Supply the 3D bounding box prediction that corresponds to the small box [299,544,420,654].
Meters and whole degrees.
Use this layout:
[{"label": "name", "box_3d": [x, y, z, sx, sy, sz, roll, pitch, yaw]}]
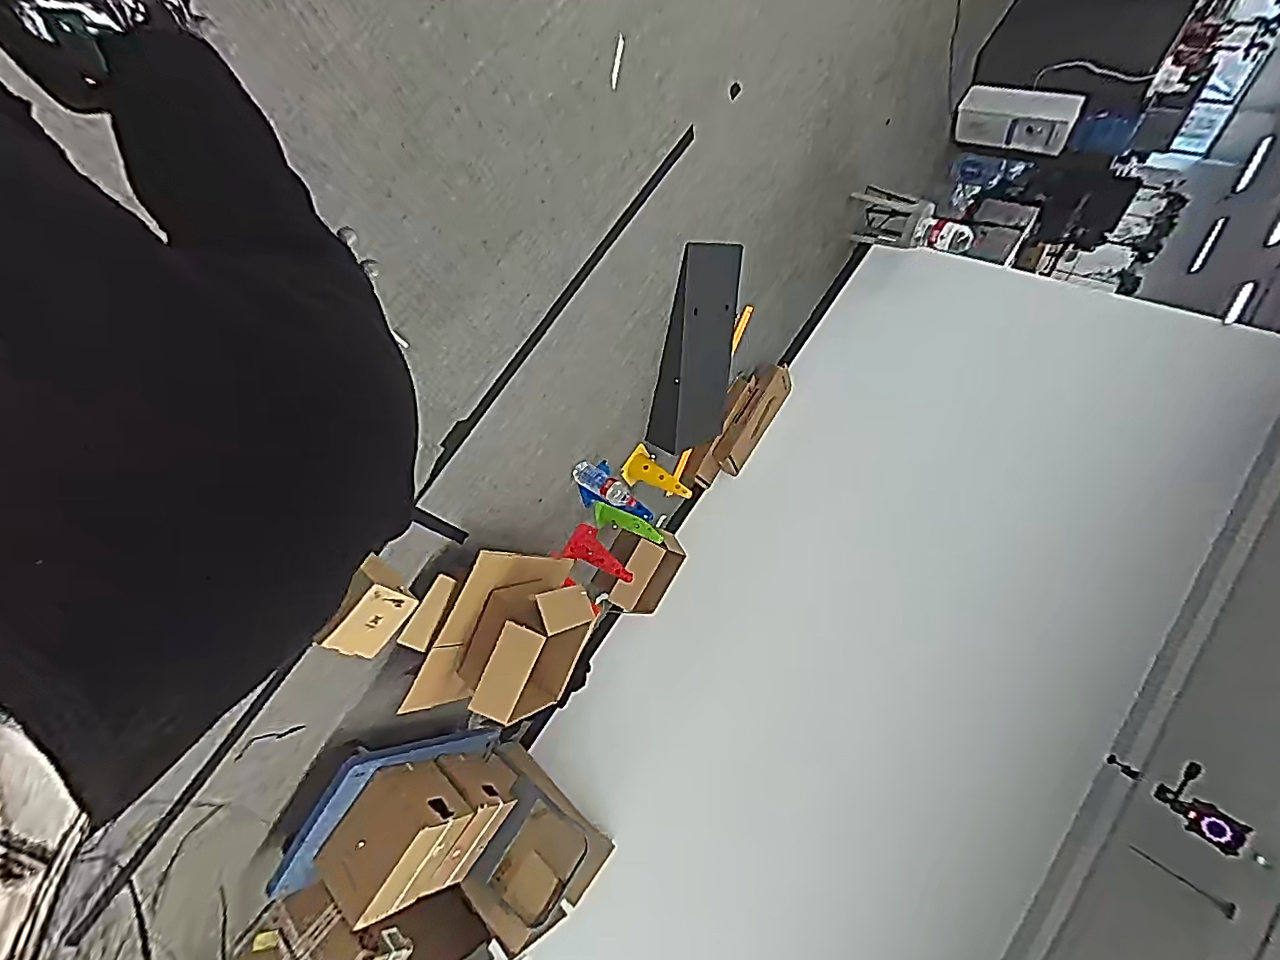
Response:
[{"label": "small box", "box_3d": [-0.685, 0.289, 1.312, 0.179, 0.176, 0.168, -51, 151, -12]}]
